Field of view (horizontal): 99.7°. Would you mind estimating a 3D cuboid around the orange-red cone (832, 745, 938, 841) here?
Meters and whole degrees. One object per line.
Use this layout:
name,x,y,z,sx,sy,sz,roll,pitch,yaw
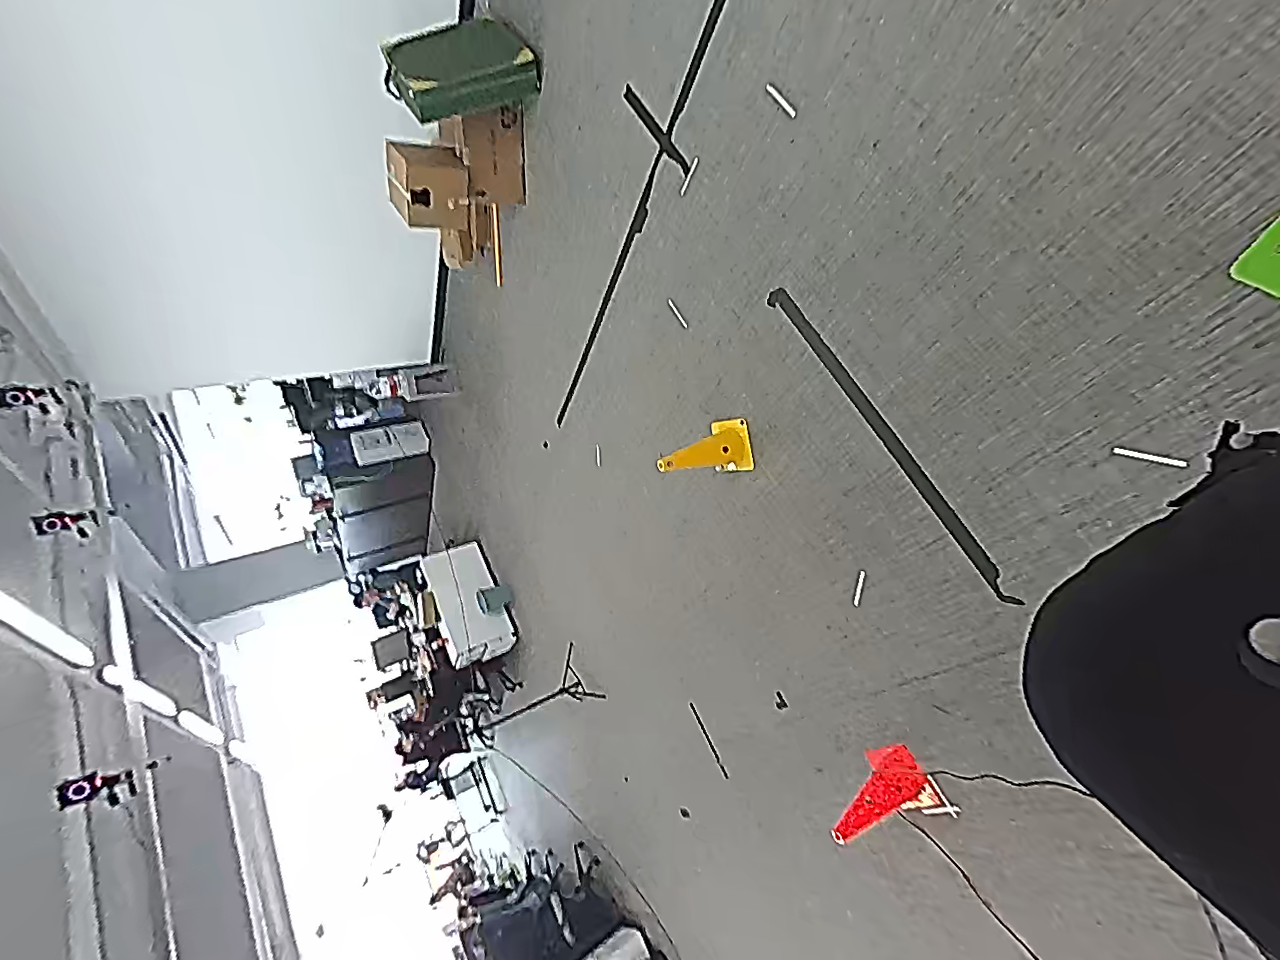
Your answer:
orange-red cone,0.748,1.047,1.749,0.199,0.360,0.198,62,146,20
